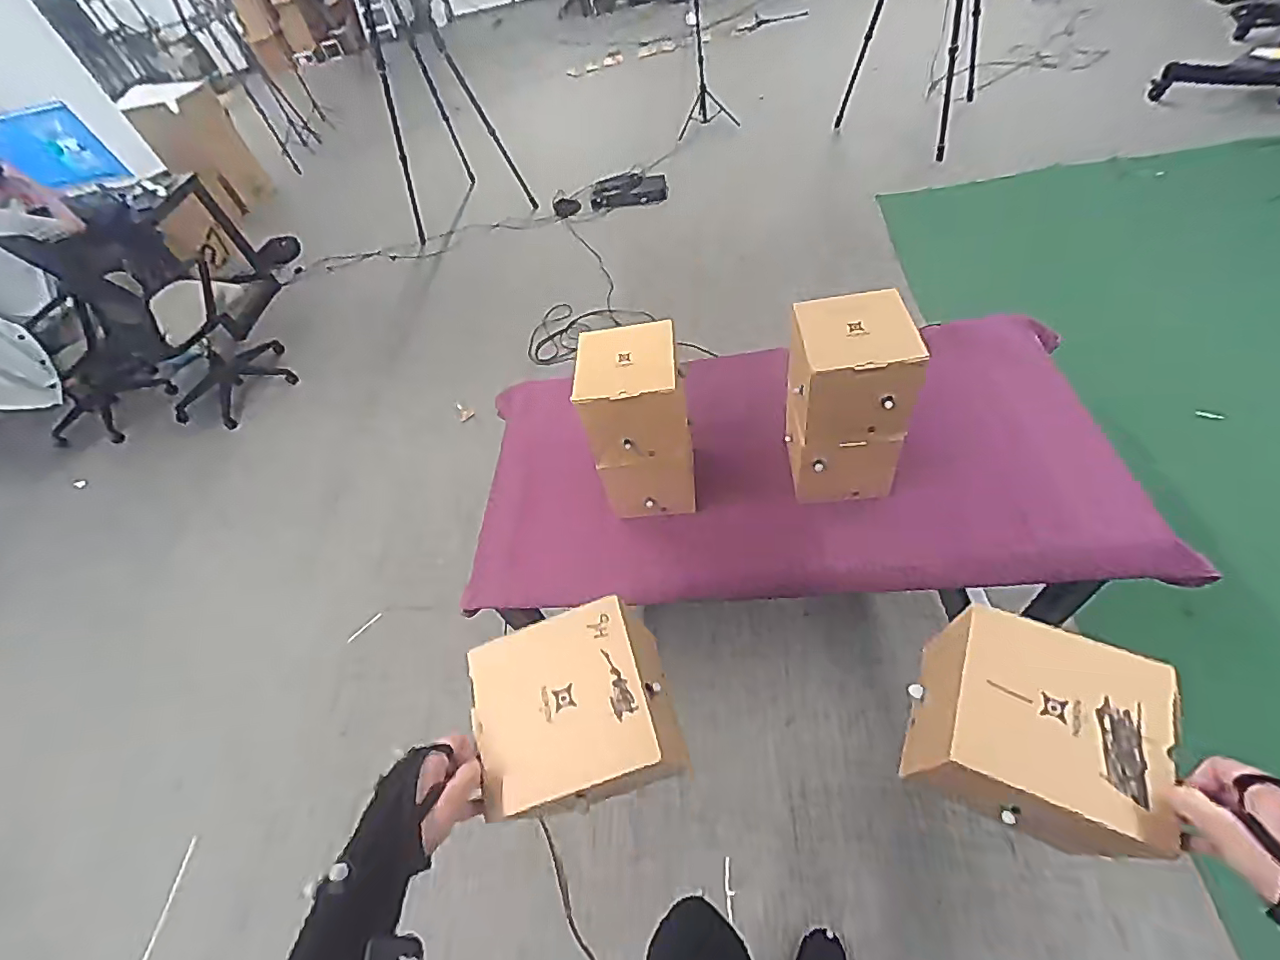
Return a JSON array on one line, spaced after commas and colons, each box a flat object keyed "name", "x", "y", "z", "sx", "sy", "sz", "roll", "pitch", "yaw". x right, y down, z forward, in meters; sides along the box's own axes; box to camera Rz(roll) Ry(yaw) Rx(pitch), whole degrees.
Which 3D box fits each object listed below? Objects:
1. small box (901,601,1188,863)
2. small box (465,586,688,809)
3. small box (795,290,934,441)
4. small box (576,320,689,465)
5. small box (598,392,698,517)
[{"name": "small box", "x": 0.395, "y": 0.254, "z": 0.553, "sx": 0.179, "sy": 0.176, "sz": 0.168, "roll": 18, "pitch": 61, "yaw": 19}, {"name": "small box", "x": -0.064, "y": 0.242, "z": 0.585, "sx": 0.179, "sy": 0.176, "sz": 0.168, "roll": -21, "pitch": 57, "yaw": 5}, {"name": "small box", "x": 0.348, "y": -0.176, "z": 0.876, "sx": 0.168, "sy": 0.176, "sz": 0.179, "roll": -5, "pitch": 51, "yaw": 9}, {"name": "small box", "x": -0.005, "y": -0.148, "z": 0.934, "sx": 0.168, "sy": 0.176, "sz": 0.179, "roll": -5, "pitch": 52, "yaw": 8}, {"name": "small box", "x": 0.023, "y": -0.047, "z": 1.058, "sx": 0.168, "sy": 0.176, "sz": 0.179, "roll": -5, "pitch": 52, "yaw": 10}]
